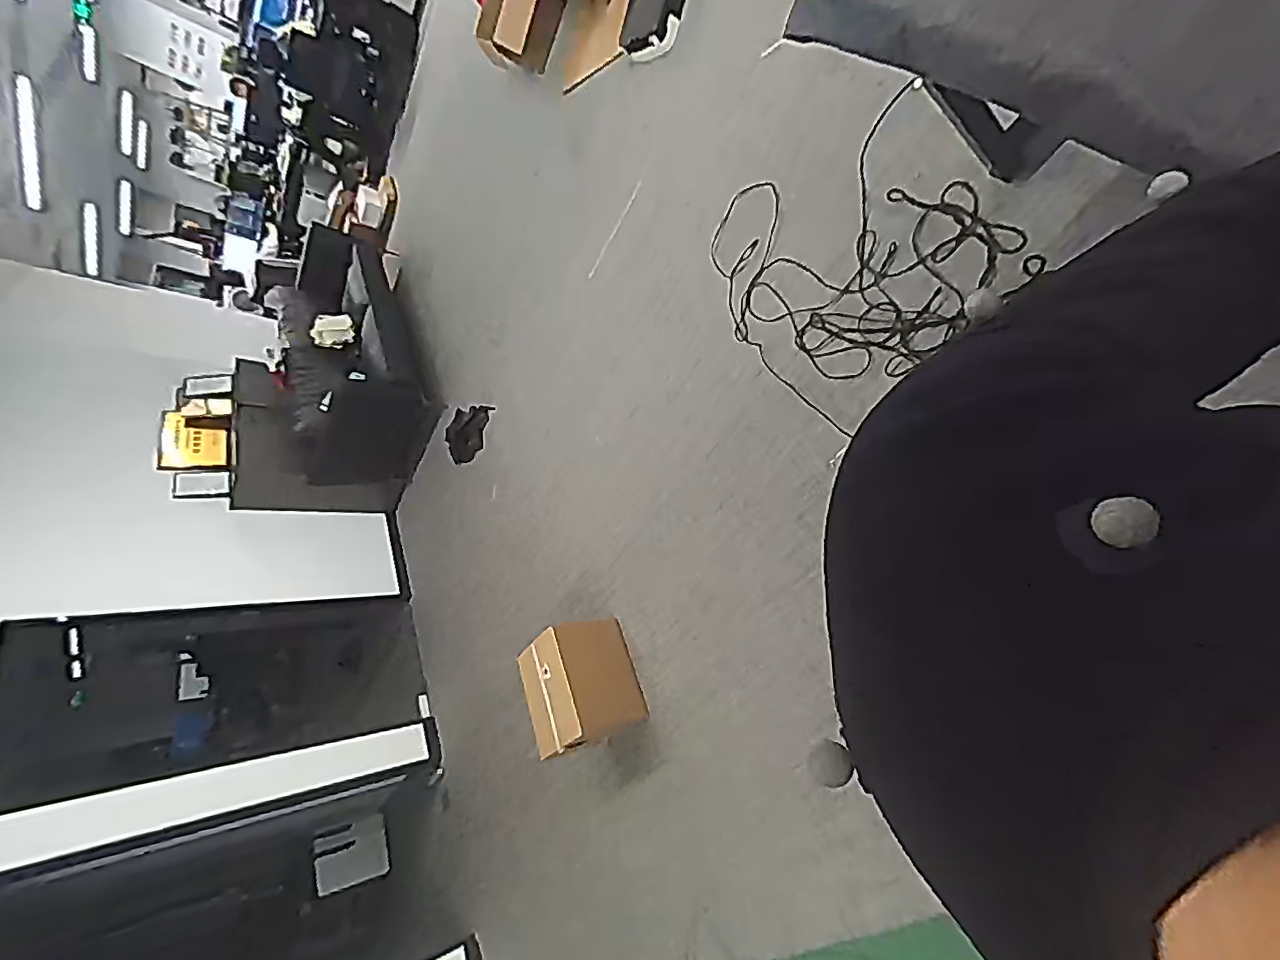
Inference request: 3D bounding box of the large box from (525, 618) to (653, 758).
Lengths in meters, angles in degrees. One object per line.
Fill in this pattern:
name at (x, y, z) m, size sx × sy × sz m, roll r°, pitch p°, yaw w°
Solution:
large box at (-0.205, 0.798, 2.107) m, size 0.320 × 0.320 × 0.408 m, roll -47°, pitch 52°, yaw 36°
